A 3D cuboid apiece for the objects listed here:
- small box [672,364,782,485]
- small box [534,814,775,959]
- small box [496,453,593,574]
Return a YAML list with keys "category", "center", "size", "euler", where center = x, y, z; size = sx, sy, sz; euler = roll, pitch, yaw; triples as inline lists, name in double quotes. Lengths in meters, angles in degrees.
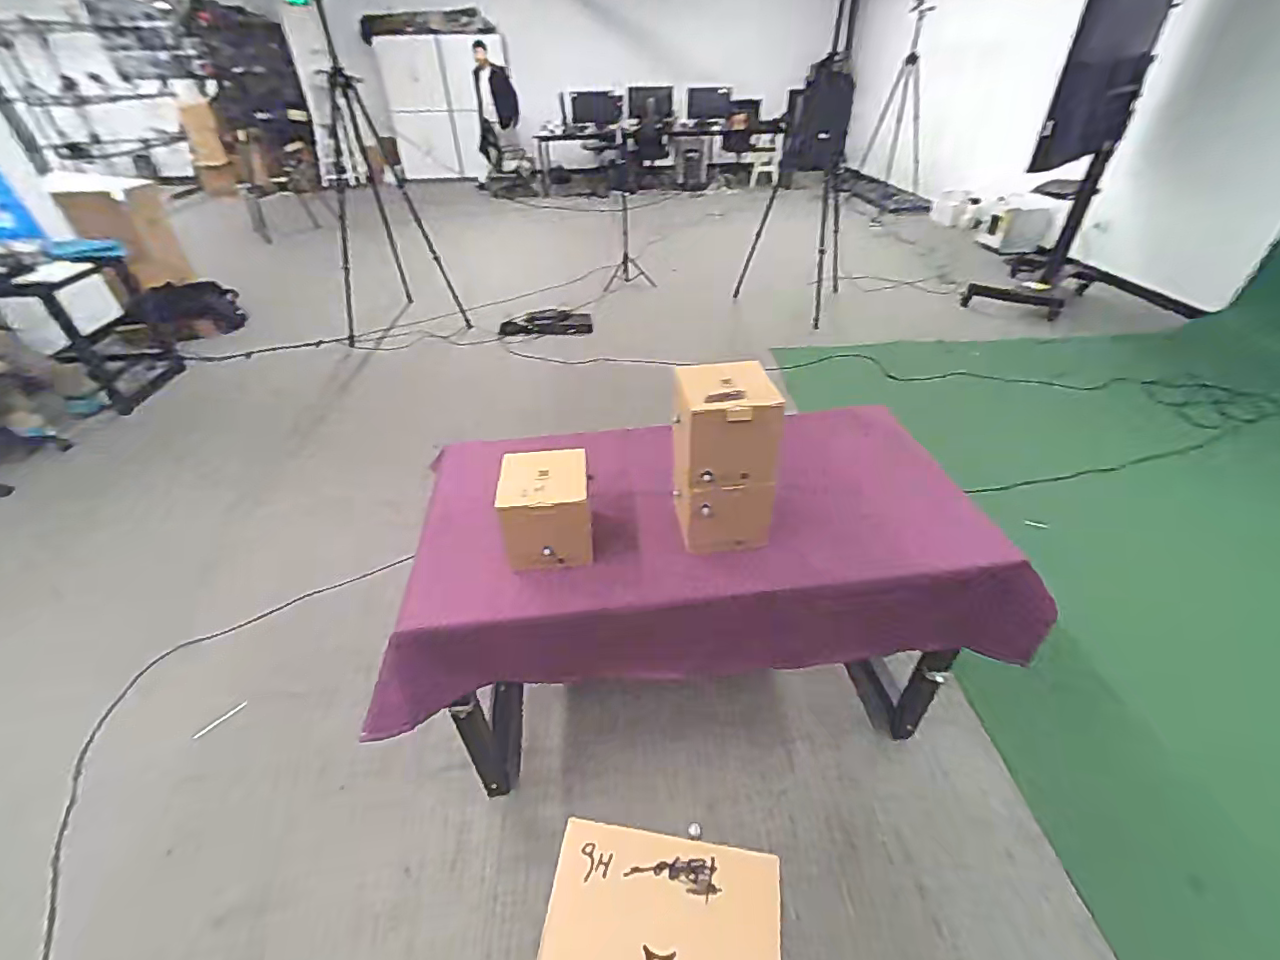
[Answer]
- category: "small box"
  center: [0.156, -0.101, 1.020]
  size: [0.168, 0.176, 0.179]
  euler: [-5, 36, -5]
- category: "small box"
  center: [0.013, 0.387, 0.420]
  size: [0.168, 0.176, 0.179]
  euler: [4, 49, 8]
- category: "small box"
  center: [-0.184, 0.065, 1.087]
  size: [0.168, 0.176, 0.179]
  euler: [-5, 37, -3]
